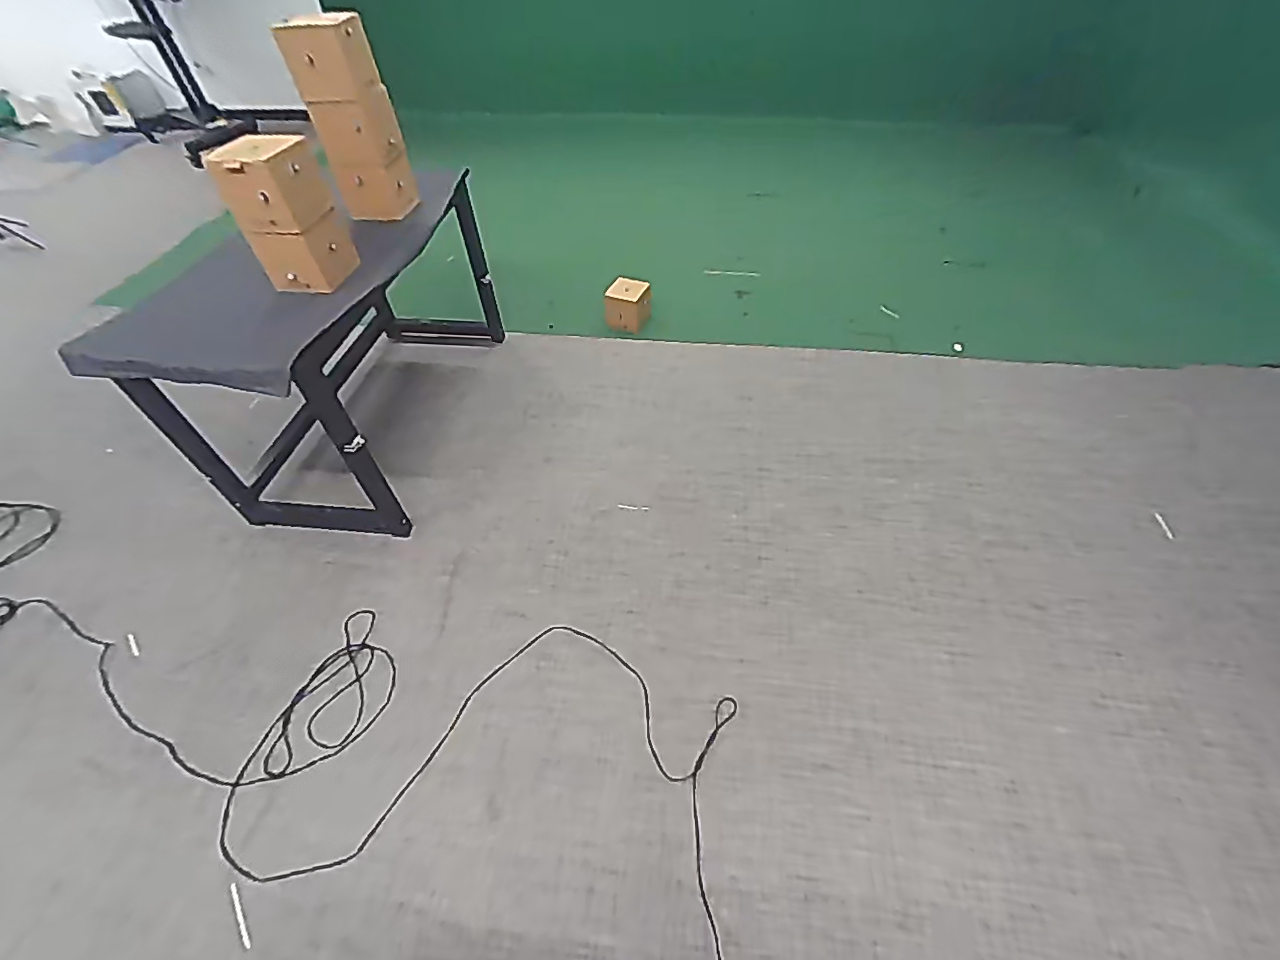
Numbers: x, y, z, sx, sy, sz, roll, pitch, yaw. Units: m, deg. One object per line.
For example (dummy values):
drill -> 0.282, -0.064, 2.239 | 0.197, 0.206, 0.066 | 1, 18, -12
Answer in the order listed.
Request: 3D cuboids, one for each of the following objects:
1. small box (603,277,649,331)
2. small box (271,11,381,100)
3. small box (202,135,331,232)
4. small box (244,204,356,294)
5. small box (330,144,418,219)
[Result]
small box -> -0.062, -0.839, 2.582 | 0.168, 0.176, 0.179 | 18, 52, 15
small box -> -0.863, -1.177, 1.503 | 0.179, 0.176, 0.168 | 1, 50, 5
small box -> -0.909, -0.733, 1.340 | 0.168, 0.176, 0.179 | 6, 49, 7
small box -> -0.906, -0.629, 1.465 | 0.168, 0.176, 0.179 | 4, 50, 7
small box -> -0.850, -0.964, 1.753 | 0.179, 0.176, 0.168 | 4, 50, 7
